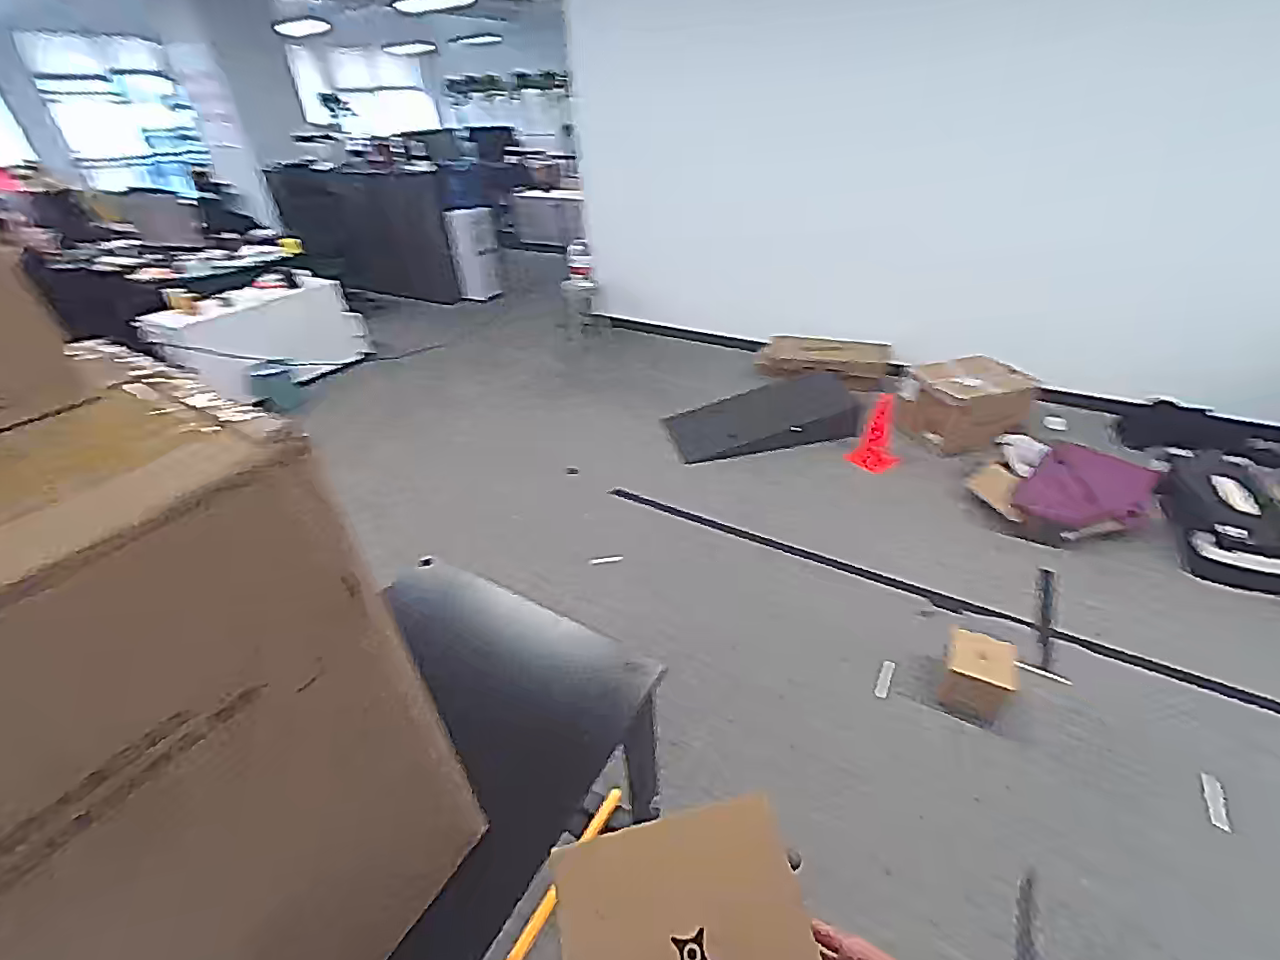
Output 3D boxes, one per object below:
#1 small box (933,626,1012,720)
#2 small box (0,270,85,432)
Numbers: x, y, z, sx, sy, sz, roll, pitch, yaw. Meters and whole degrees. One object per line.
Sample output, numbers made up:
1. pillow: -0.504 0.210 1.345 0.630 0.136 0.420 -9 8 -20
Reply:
1. small box: 0.997 0.580 1.628 0.168 0.176 0.179 14 39 24
2. small box: -0.543 -0.110 0.365 0.179 0.176 0.168 19 41 30
